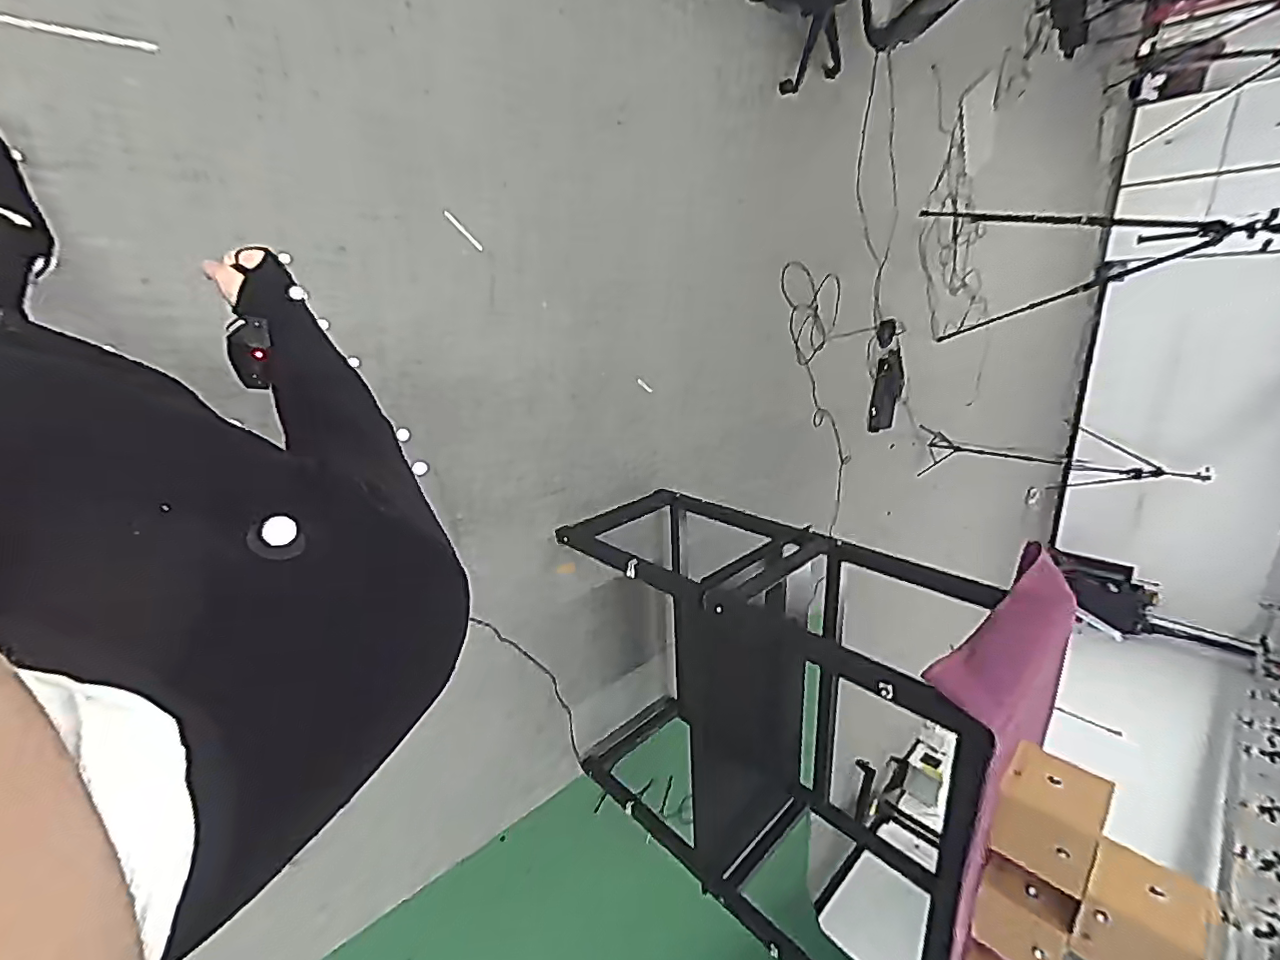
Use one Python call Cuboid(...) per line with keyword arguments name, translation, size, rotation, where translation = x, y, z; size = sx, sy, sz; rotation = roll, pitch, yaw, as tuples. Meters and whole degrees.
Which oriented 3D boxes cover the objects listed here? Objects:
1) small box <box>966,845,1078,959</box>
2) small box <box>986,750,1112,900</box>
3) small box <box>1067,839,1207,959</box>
Cuboid(name="small box", translation=(0.854, 0.957, 1.210), size=(0.168, 0.176, 0.179), rotation=(-18, 114, -39))
Cuboid(name="small box", translation=(0.848, 0.701, 1.129), size=(0.168, 0.176, 0.179), rotation=(-20, 115, -37))
Cuboid(name="small box", translation=(0.969, 0.869, 1.062), size=(0.179, 0.176, 0.168), rotation=(-17, 114, -40))
